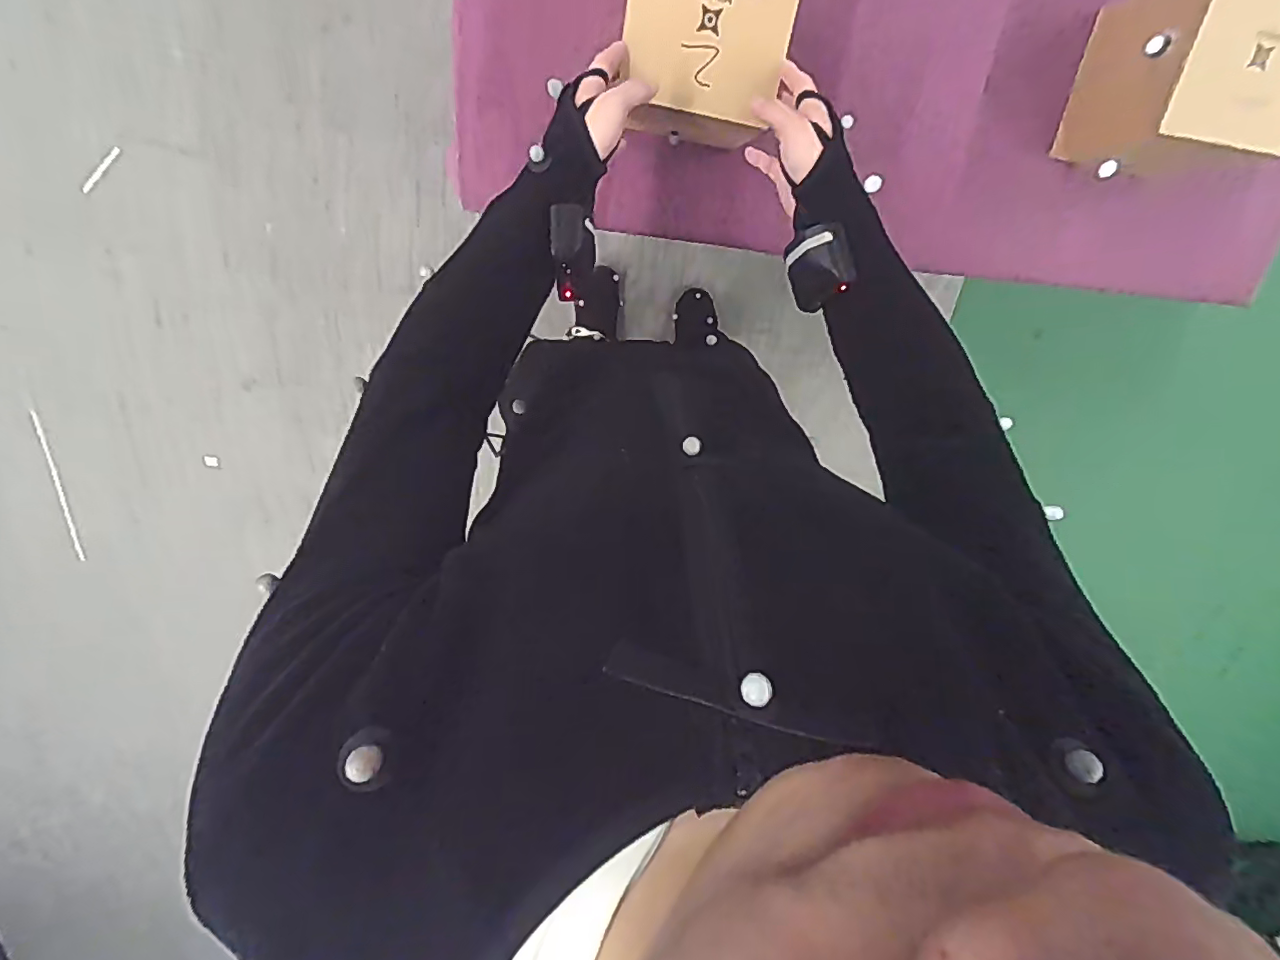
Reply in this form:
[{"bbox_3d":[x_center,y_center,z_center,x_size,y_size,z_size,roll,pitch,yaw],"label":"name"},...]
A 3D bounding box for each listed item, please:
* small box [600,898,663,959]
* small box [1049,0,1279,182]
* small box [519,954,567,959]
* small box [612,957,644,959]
[{"bbox_3d":[-0.033,1.519,1.771,0.168,0.176,0.179,11,111,-10],"label":"small box"},{"bbox_3d":[0.656,-0.484,0.659,0.168,0.176,0.179,7,111,-6],"label":"small box"},{"bbox_3d":[-0.293,1.532,1.580,0.168,0.176,0.179,9,112,-8],"label":"small box"},{"bbox_3d":[-0.022,1.573,1.616,0.168,0.176,0.179,11,111,-8],"label":"small box"}]
